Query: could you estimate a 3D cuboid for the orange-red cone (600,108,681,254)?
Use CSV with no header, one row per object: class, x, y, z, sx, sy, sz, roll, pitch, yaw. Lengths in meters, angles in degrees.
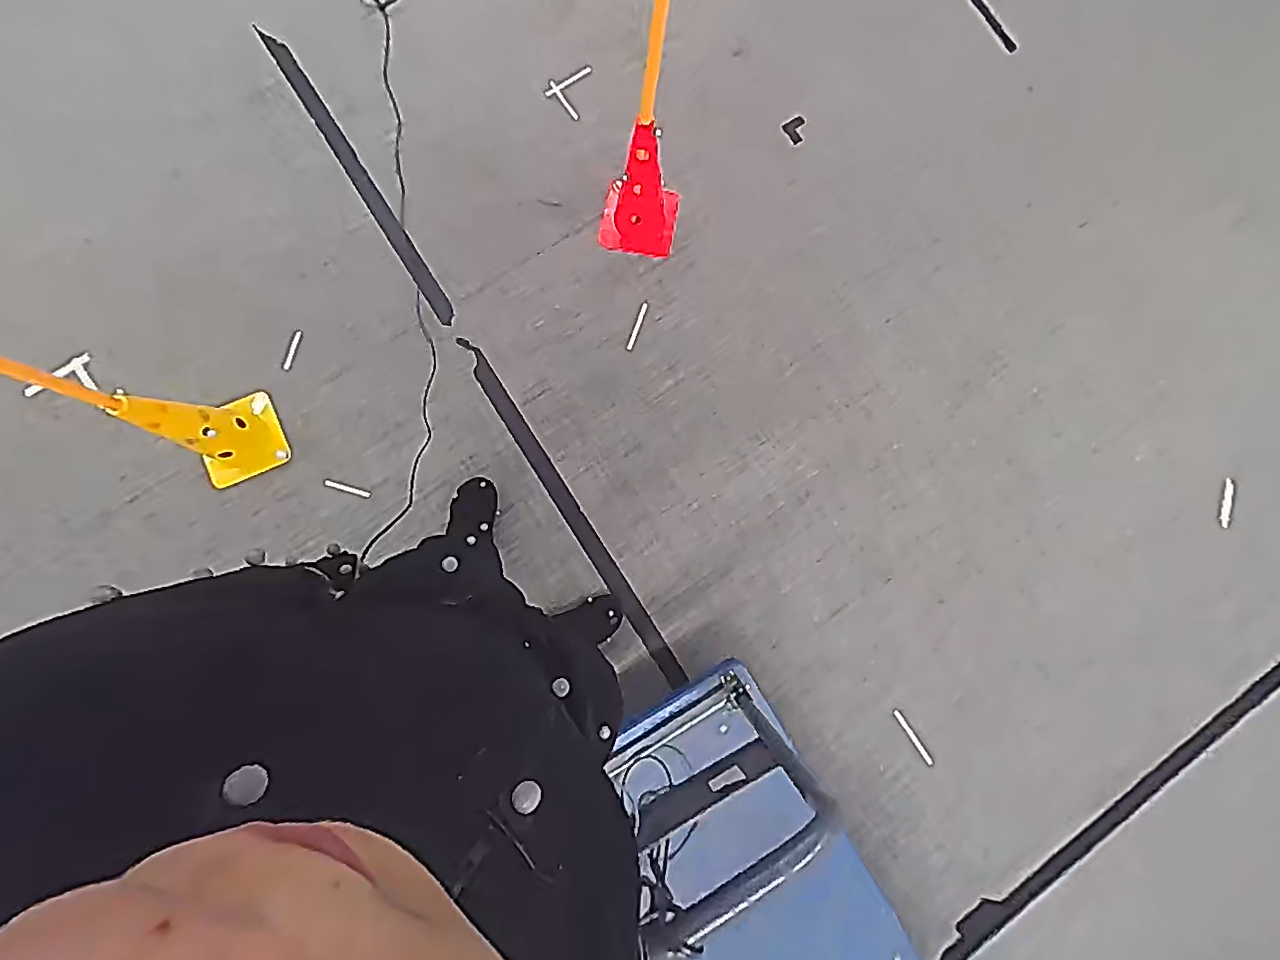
orange-red cone,0.007,-0.744,1.311,0.198,0.360,0.199,12,84,0
